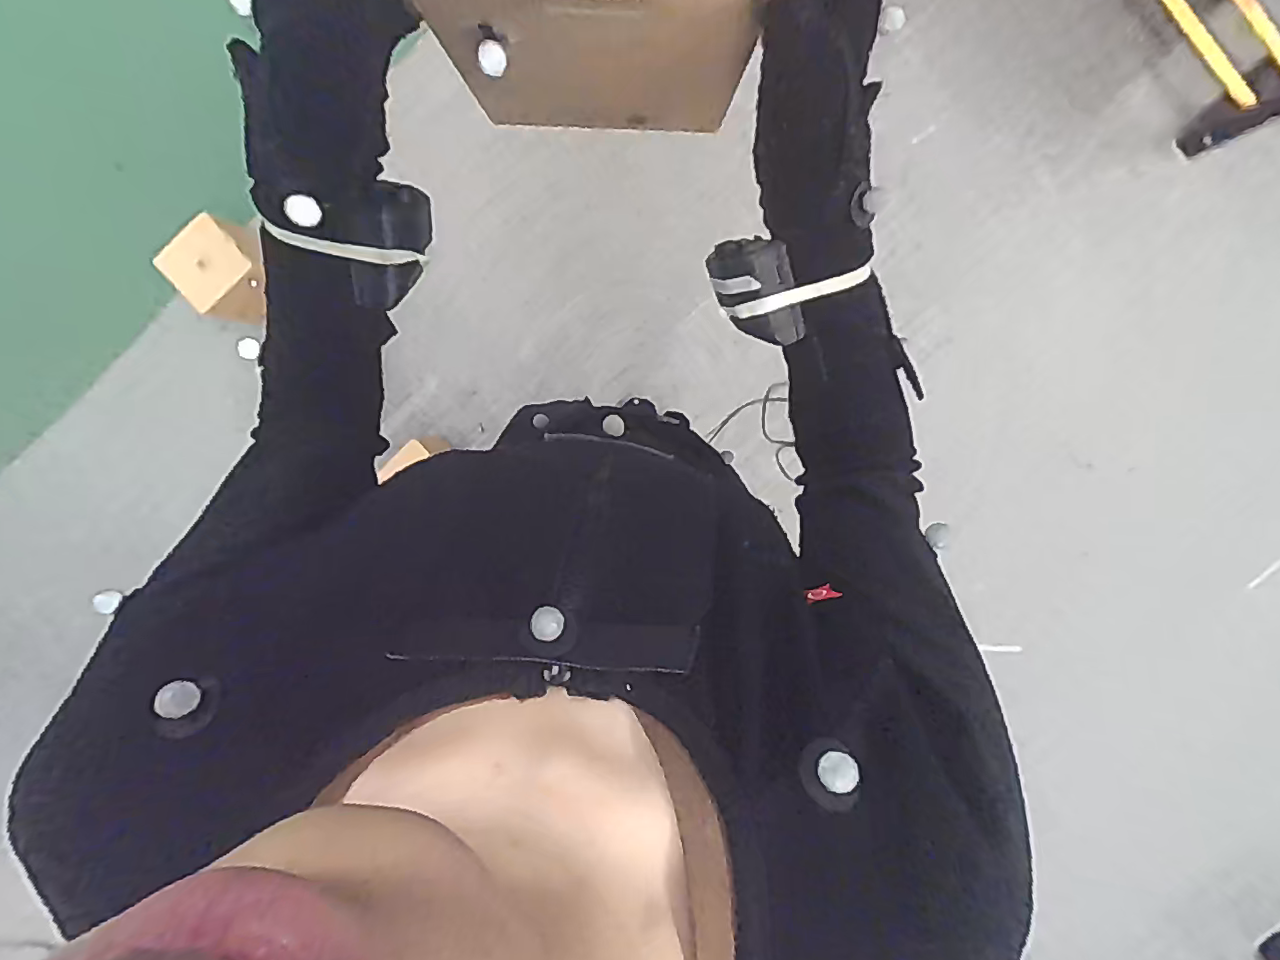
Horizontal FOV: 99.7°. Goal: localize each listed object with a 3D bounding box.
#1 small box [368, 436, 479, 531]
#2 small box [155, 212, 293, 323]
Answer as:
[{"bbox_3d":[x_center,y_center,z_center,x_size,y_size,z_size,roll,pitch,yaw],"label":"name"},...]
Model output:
[{"bbox_3d":[-0.547,0.004,1.396,0.179,0.176,0.168,-43,96,4],"label":"small box"},{"bbox_3d":[-1.016,-0.512,1.338,0.179,0.176,0.168,-41,96,4],"label":"small box"}]
